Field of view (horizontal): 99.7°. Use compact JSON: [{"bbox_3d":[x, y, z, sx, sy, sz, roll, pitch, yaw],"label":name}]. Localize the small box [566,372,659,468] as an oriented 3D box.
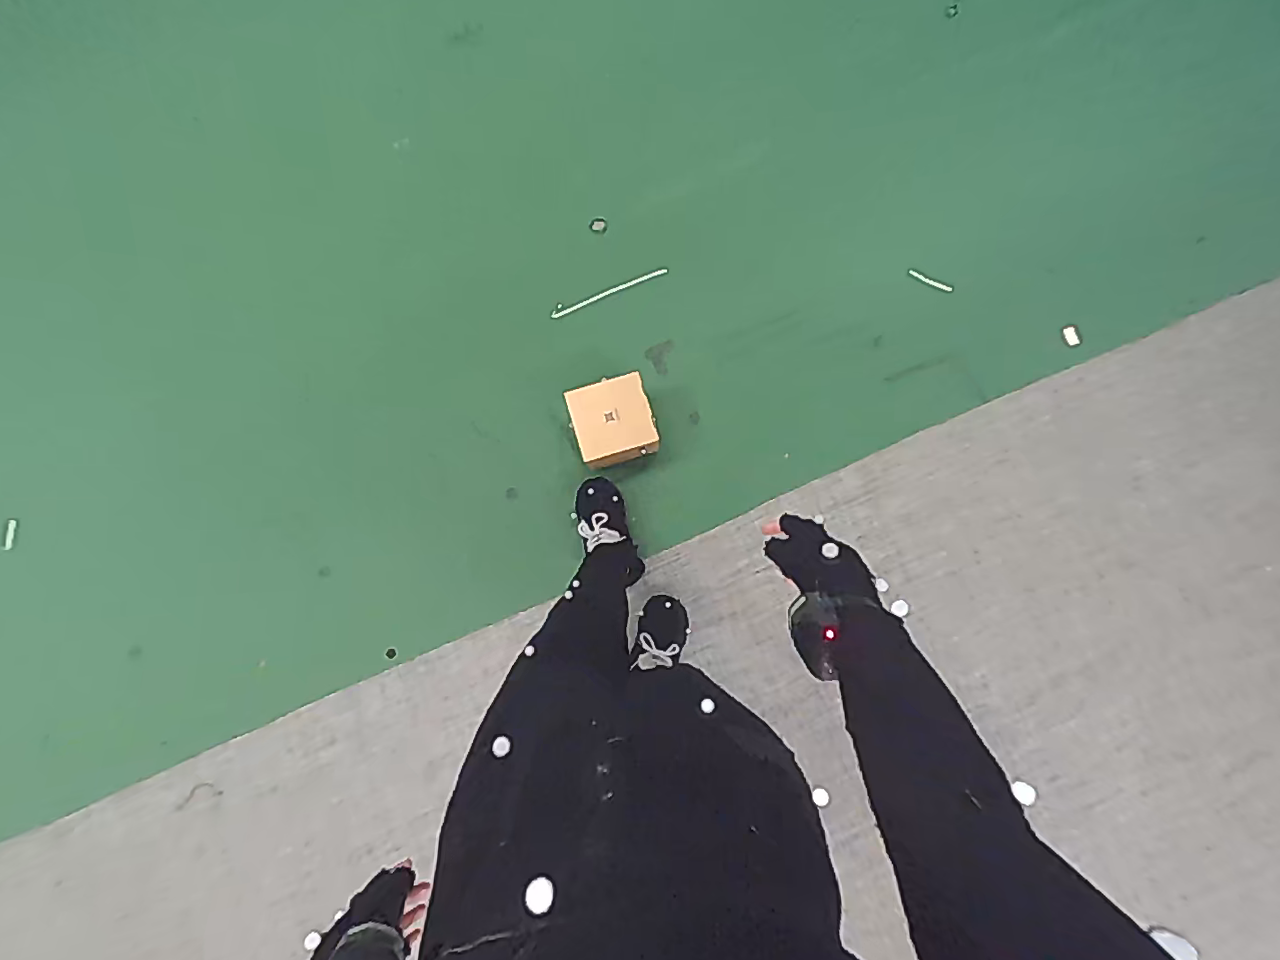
[{"bbox_3d":[-0.060,-0.133,1.275,0.179,0.176,0.168,-17,85,-1],"label":"small box"}]
